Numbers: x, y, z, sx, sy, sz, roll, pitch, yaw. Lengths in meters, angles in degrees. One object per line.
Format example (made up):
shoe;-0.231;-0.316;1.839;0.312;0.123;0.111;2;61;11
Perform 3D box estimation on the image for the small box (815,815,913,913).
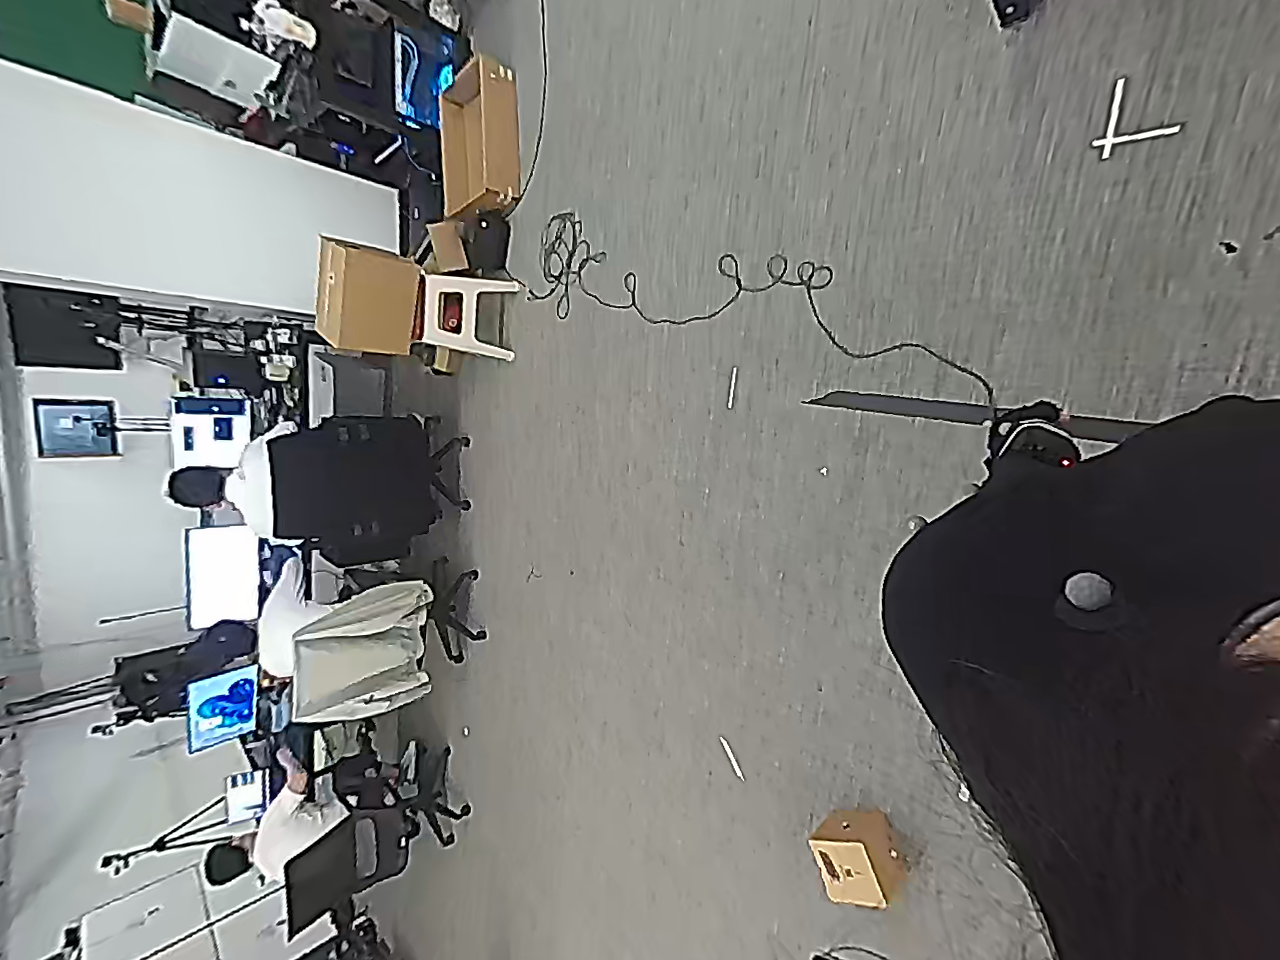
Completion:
small box;0.639;1.082;1.539;0.179;0.176;0.168;-31;73;41
